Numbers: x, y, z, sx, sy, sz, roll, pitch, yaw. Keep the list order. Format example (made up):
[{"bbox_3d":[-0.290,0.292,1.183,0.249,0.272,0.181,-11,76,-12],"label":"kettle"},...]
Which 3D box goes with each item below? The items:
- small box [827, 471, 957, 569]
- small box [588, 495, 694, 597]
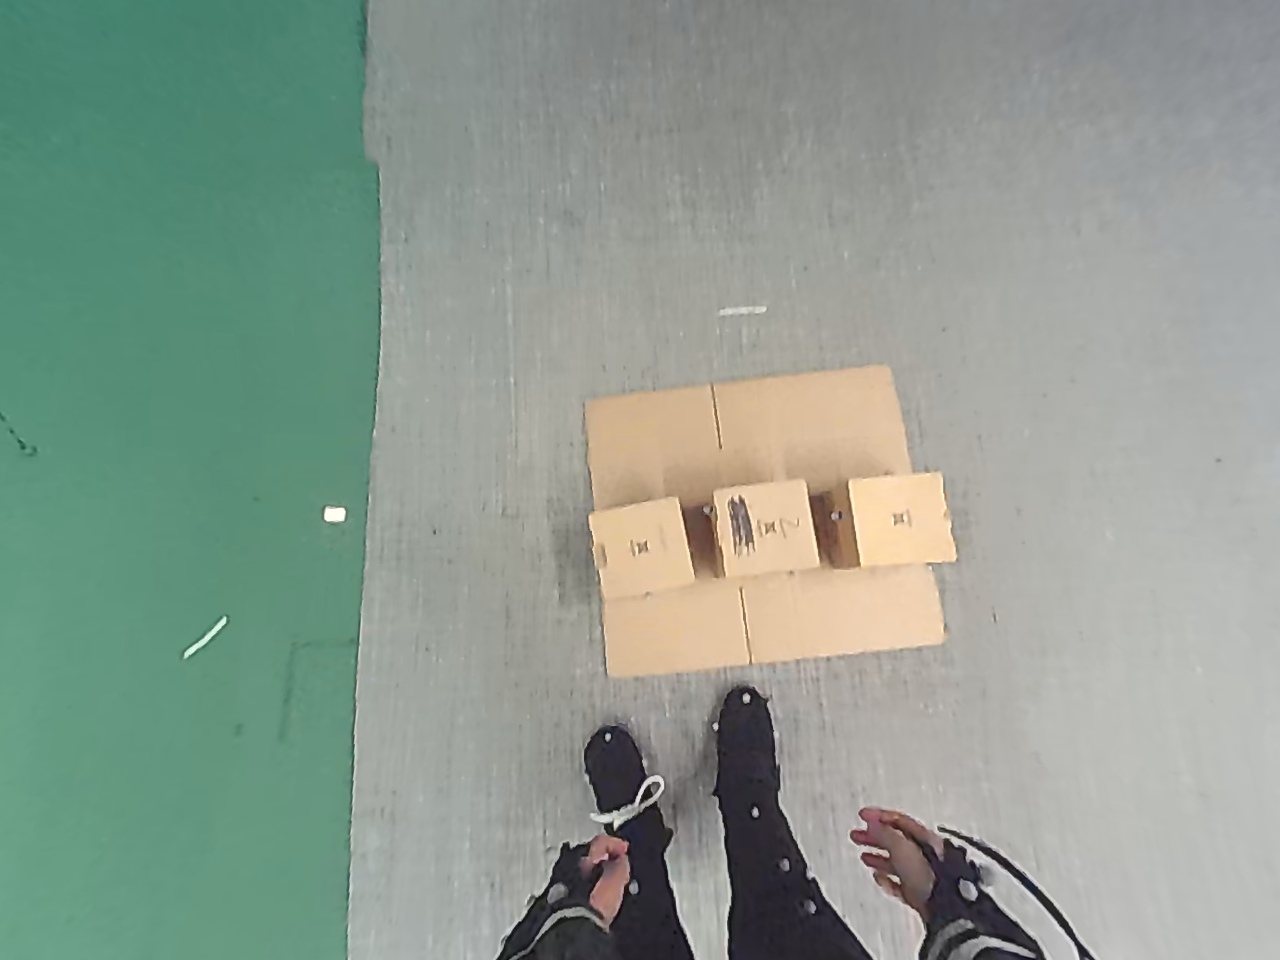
[{"bbox_3d":[0.478,0.084,1.060,0.179,0.176,0.168,-4,79,1],"label":"small box"},{"bbox_3d":[0.005,0.135,1.074,0.179,0.176,0.168,-11,80,0],"label":"small box"}]
